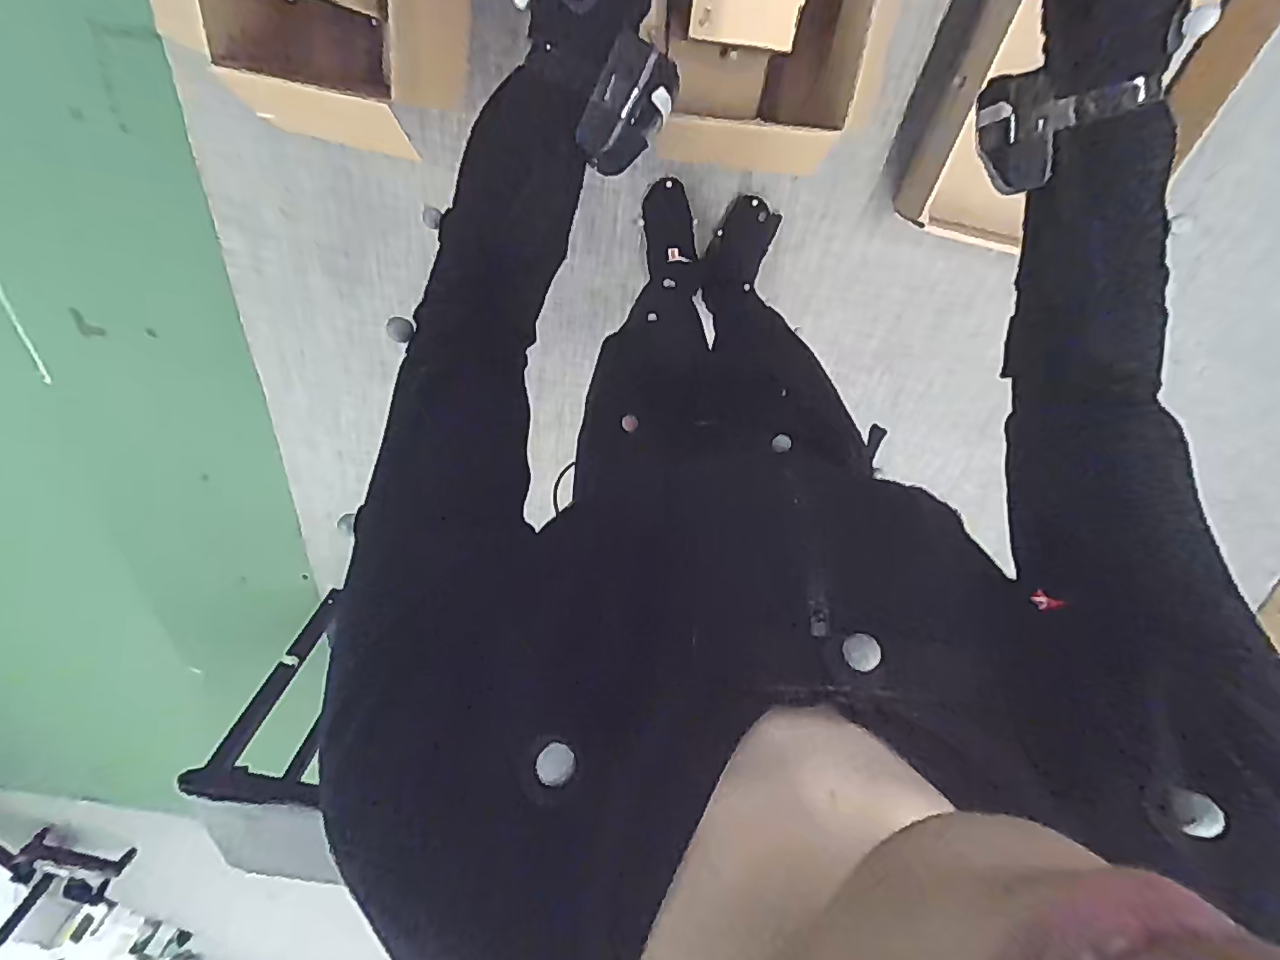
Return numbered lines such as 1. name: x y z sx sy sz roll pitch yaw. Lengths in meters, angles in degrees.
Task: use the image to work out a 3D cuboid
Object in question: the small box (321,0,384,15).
1. small box: -0.491 -0.816 0.794 0.179 0.176 0.168 13 124 -5
